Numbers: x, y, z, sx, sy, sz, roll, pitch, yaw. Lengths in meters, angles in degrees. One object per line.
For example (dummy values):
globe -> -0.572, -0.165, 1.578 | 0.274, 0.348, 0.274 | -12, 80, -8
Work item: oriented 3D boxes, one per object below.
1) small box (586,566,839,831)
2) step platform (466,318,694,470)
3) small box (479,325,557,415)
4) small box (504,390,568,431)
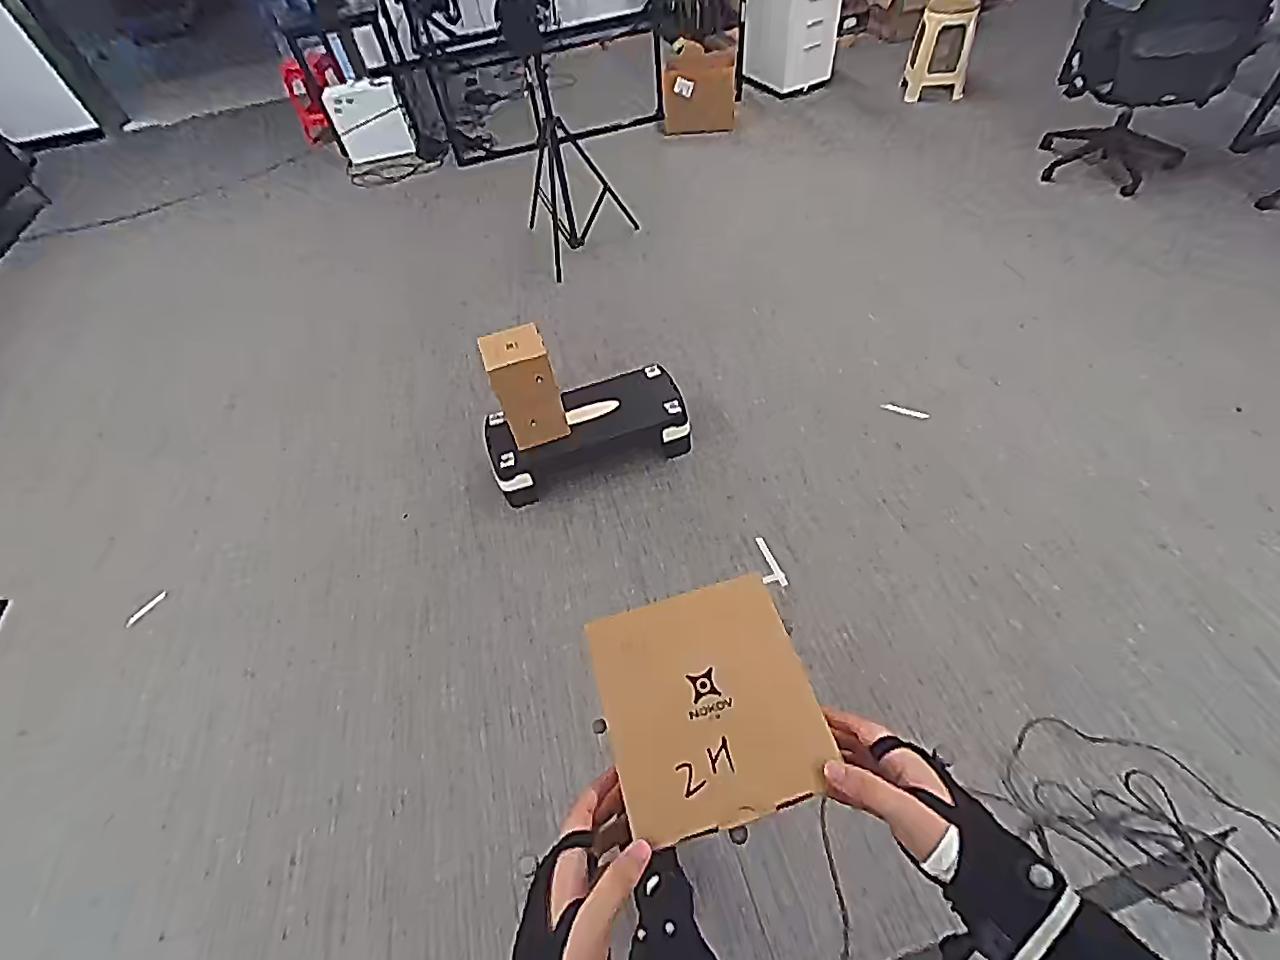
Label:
small box -> 0.056, 0.210, 0.510 | 0.168, 0.176, 0.179 | -16, 57, -5
step platform -> -0.179, -0.270, 1.698 | 0.684, 0.204, 0.286 | -18, 52, -7
small box -> -0.353, -0.323, 1.599 | 0.179, 0.176, 0.168 | -20, 52, -8
small box -> -0.337, -0.225, 1.729 | 0.179, 0.176, 0.168 | -20, 53, -8
